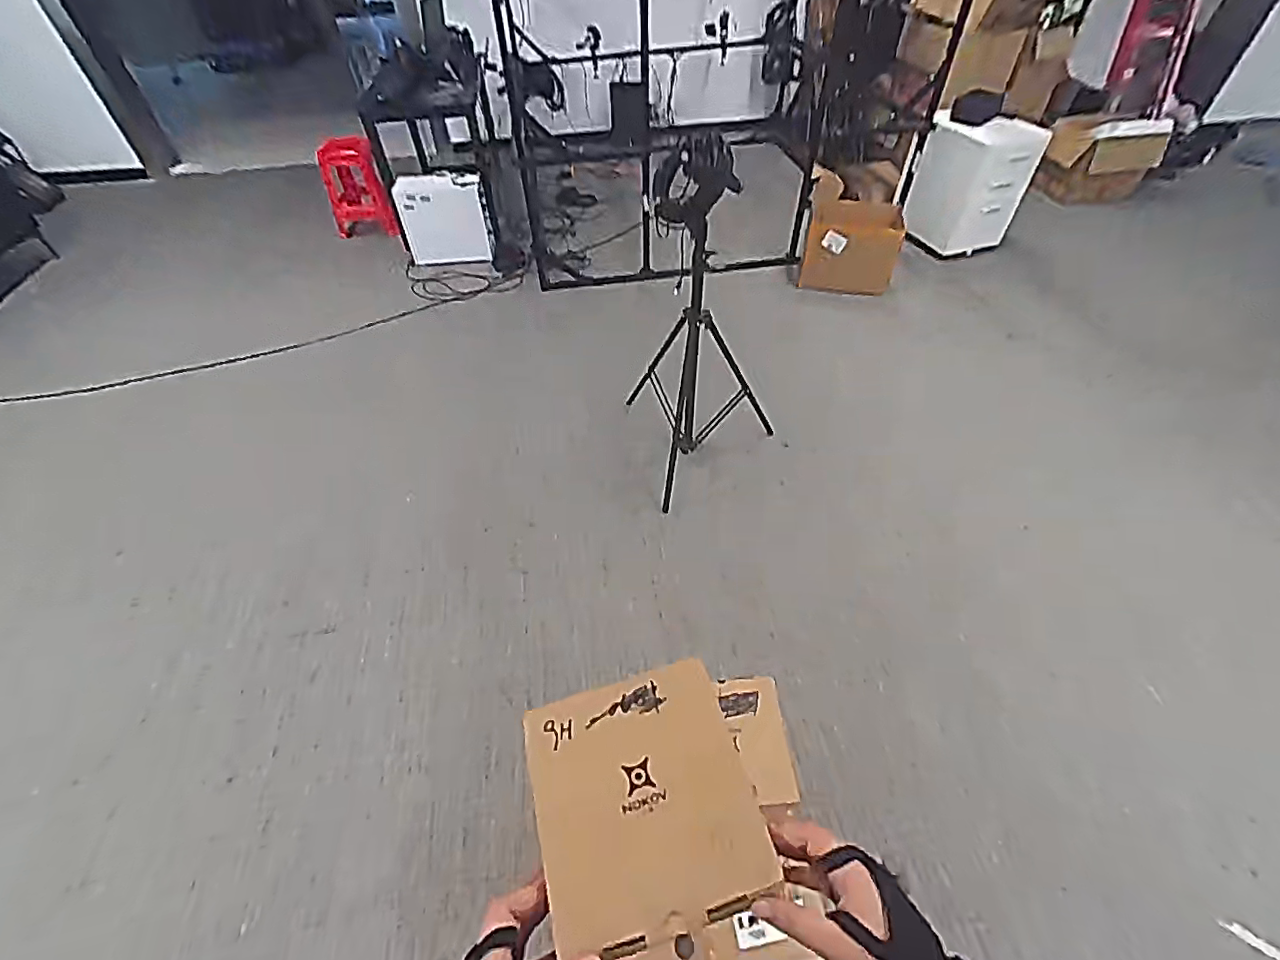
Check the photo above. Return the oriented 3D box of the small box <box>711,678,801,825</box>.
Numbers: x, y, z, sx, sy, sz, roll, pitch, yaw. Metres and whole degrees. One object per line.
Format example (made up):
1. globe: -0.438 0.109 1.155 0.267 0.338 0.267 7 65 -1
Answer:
1. small box: 0.131 0.428 0.843 0.168 0.176 0.179 -2 51 -3

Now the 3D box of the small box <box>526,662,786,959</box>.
1. small box: 0.011 0.295 0.477 0.168 0.176 0.179 -16 50 -7
